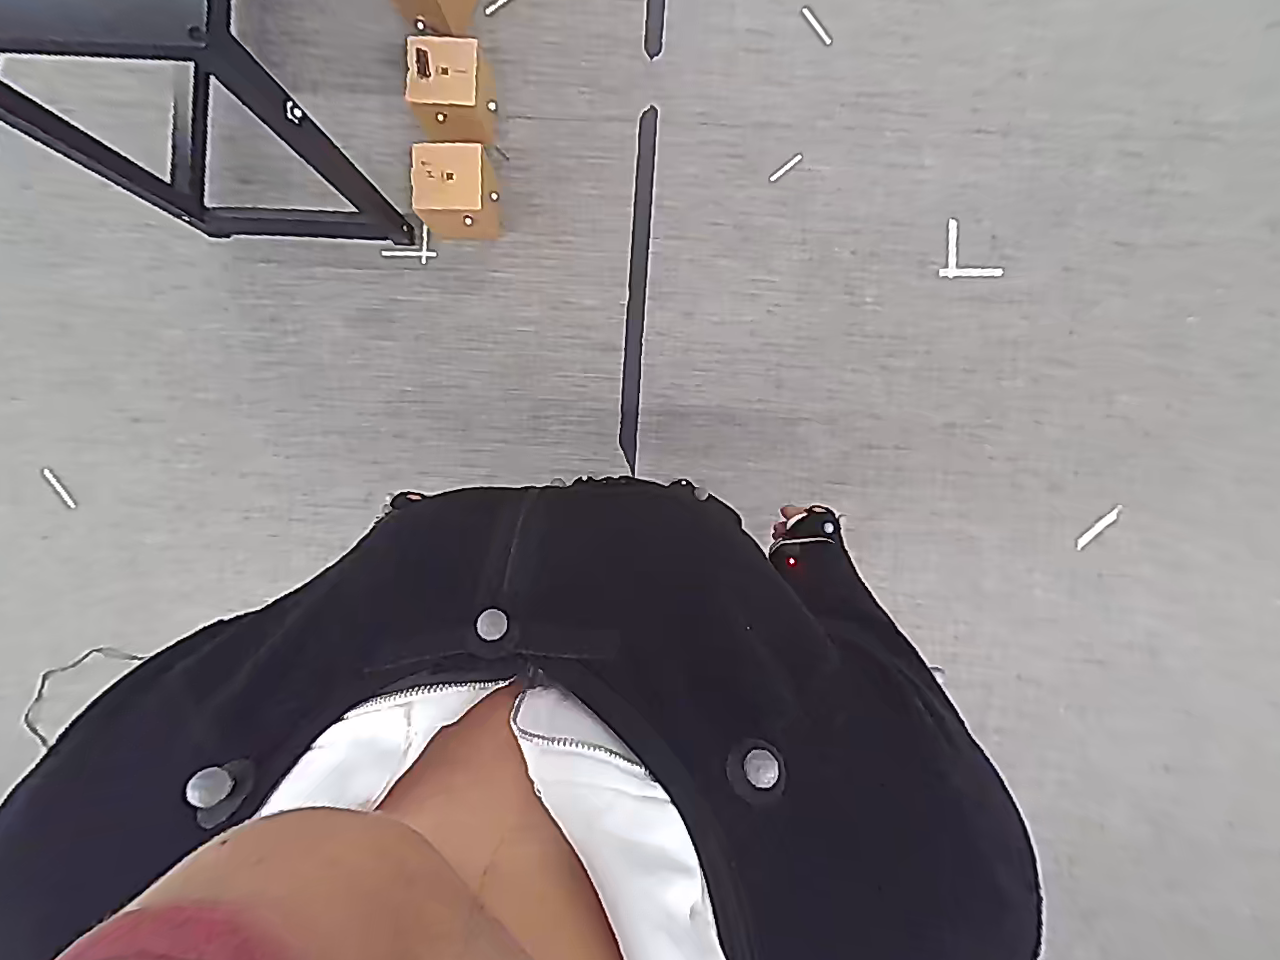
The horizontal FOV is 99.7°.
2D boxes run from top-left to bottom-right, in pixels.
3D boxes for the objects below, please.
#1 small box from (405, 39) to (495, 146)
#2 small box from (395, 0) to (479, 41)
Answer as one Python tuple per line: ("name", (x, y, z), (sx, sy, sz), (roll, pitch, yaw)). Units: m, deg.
("small box", (-0.494, -1.010, 1.423), (0.179, 0.176, 0.168), (2, 91, -1))
("small box", (-0.545, -1.307, 1.421), (0.168, 0.176, 0.179), (24, 92, 1))
